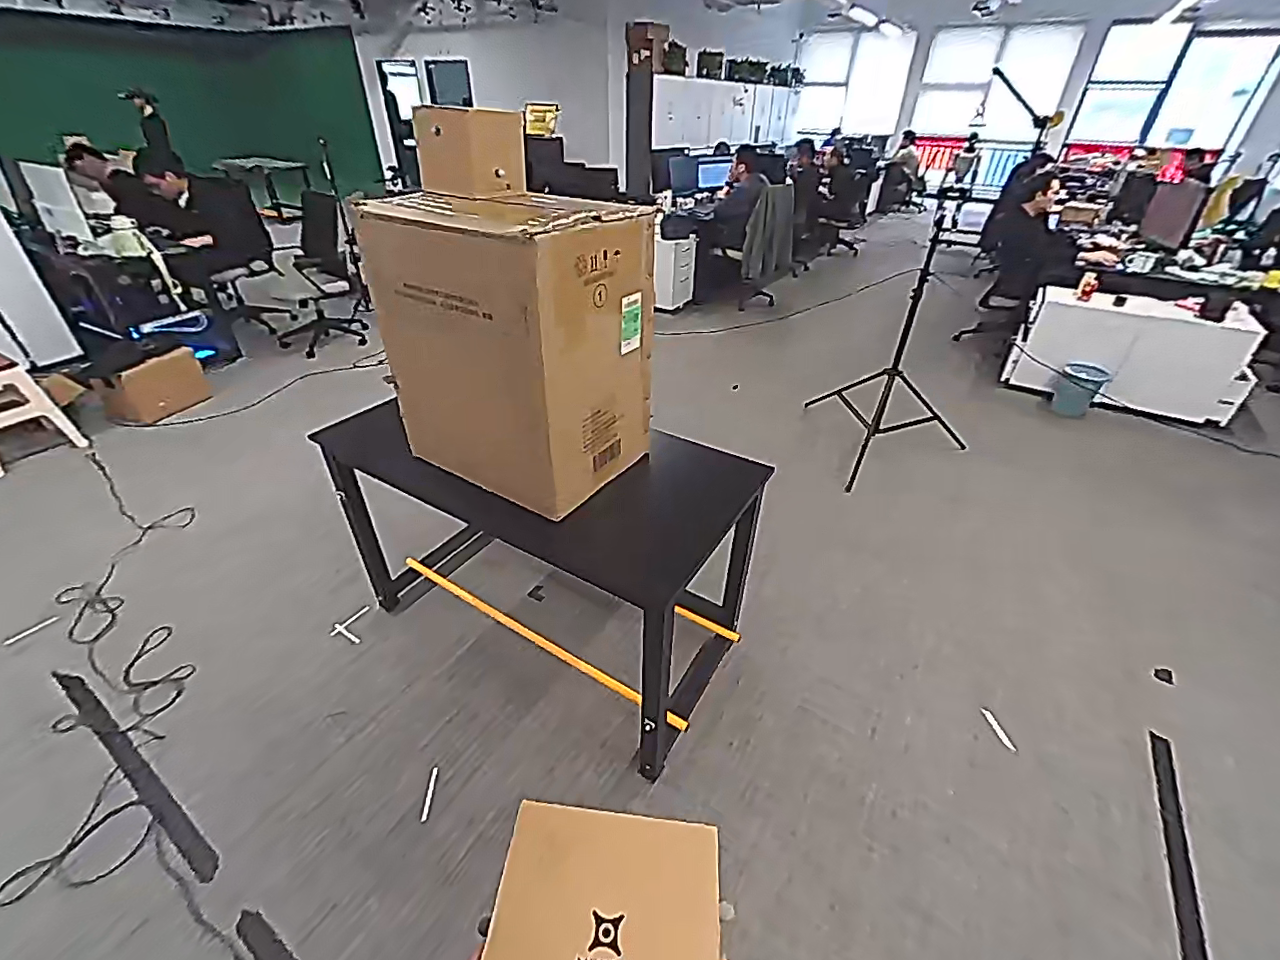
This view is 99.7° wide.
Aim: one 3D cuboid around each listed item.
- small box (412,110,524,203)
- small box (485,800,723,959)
[{"bbox_3d":[-0.384,-0.734,1.230,0.179,0.176,0.168,22,38,25],"label":"small box"},{"bbox_3d":[-0.028,0.389,0.424,0.168,0.176,0.179,5,37,2],"label":"small box"}]
